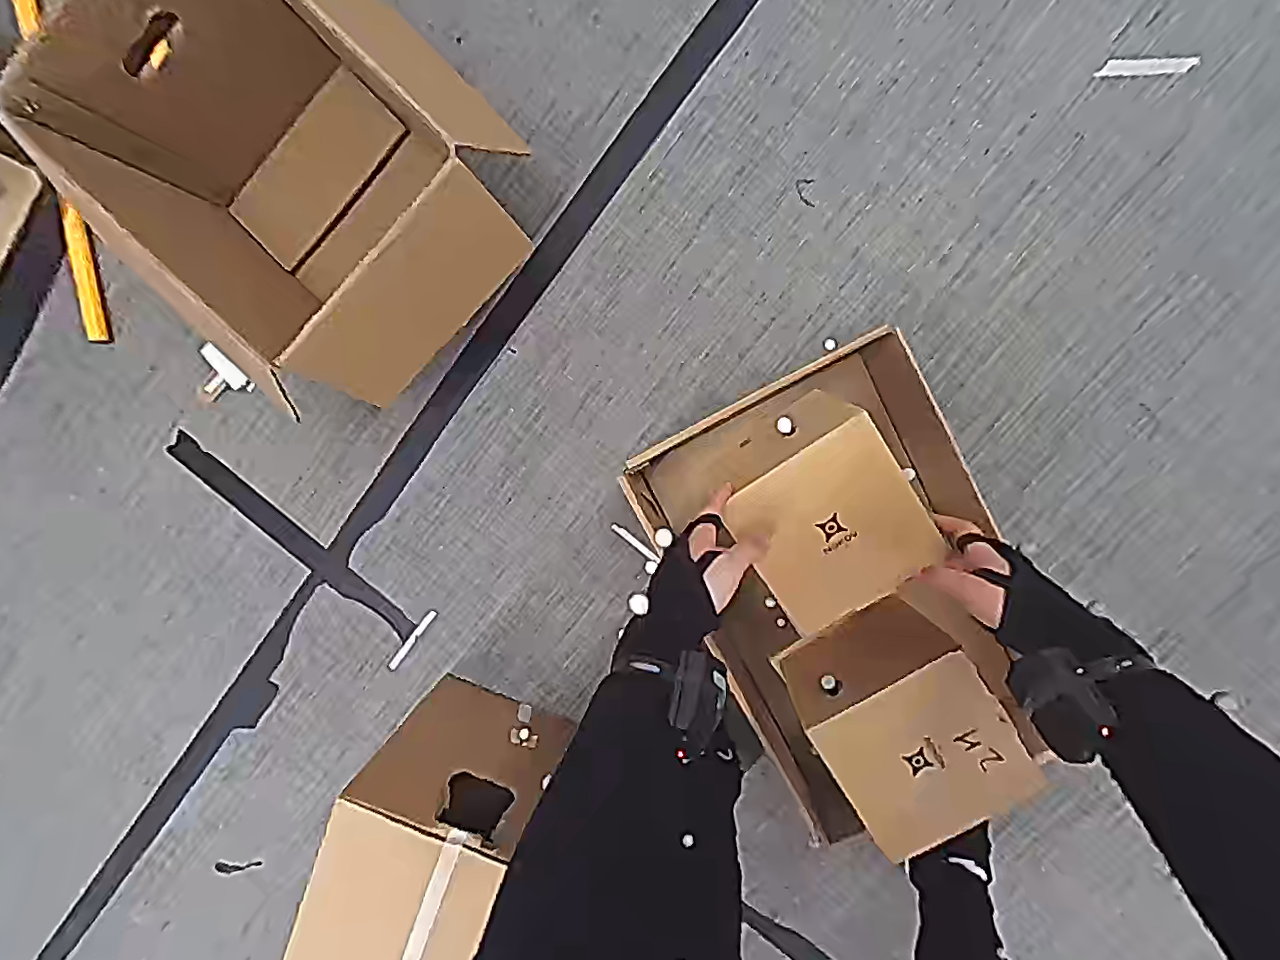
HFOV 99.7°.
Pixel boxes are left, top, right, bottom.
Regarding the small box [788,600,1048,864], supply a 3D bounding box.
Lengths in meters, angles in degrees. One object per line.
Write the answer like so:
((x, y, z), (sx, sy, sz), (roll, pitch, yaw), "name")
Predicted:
((0.283, 0.262, 0.602), (0.179, 0.176, 0.168), (-32, 92, 6), "small box")

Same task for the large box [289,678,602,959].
((-0.276, 0.591, 0.824), (0.320, 0.320, 0.408), (21, 99, 2), "large box")
